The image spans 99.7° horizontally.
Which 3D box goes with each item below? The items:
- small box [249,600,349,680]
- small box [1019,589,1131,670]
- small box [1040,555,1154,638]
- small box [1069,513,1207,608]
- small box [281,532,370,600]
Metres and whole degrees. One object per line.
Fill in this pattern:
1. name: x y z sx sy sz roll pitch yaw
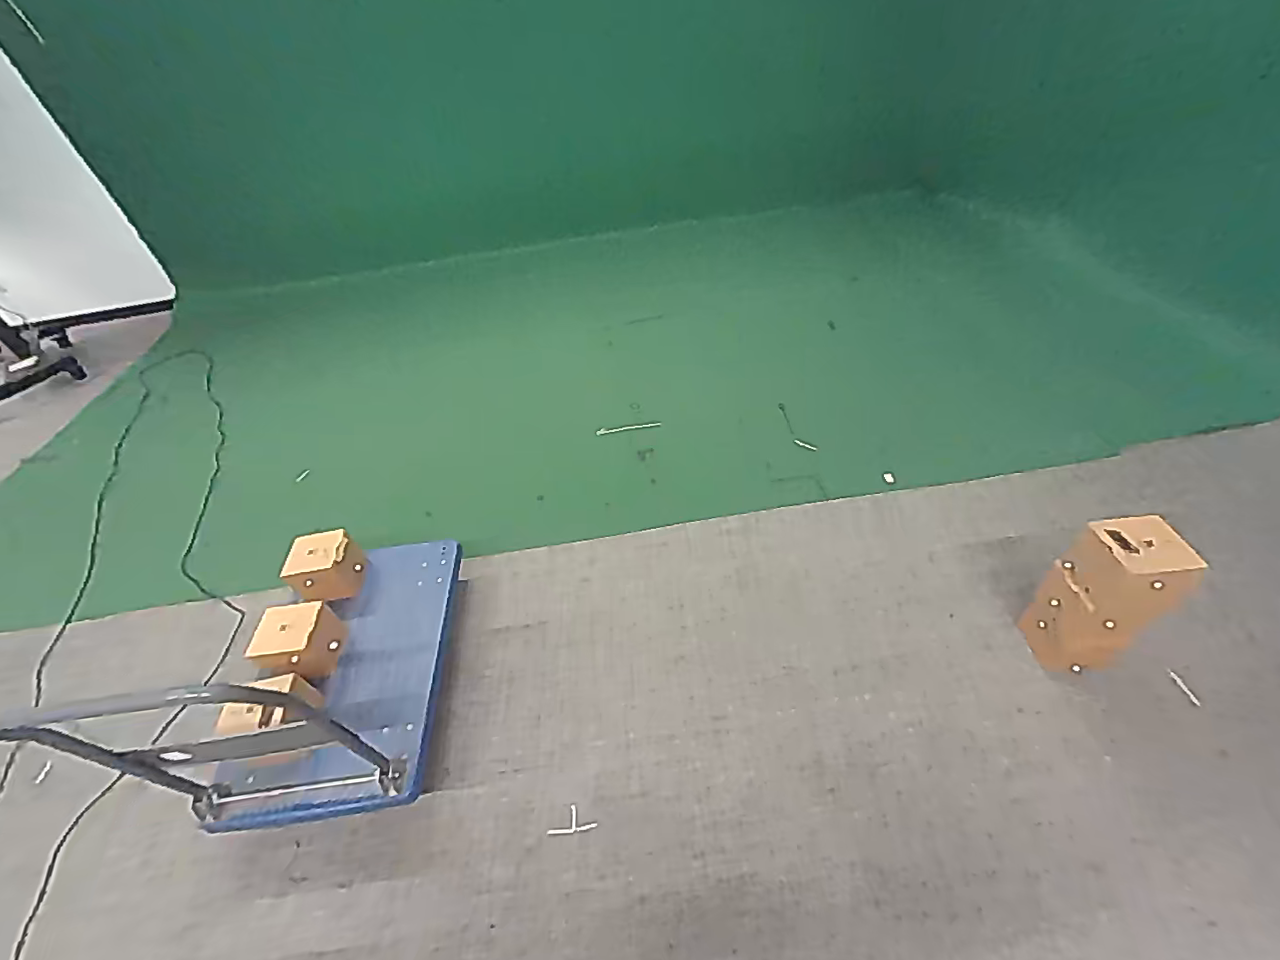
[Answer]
1. small box: -1.033 0.494 1.655 0.179 0.176 0.168 -8 44 0
2. small box: 1.263 0.435 1.589 0.168 0.176 0.179 -6 45 5
3. small box: 1.239 0.317 1.478 0.179 0.176 0.168 -7 44 5
4. small box: 1.227 0.206 1.356 0.179 0.176 0.168 -7 44 3
5. small box: -1.065 0.297 1.847 0.179 0.176 0.168 -4 48 4
